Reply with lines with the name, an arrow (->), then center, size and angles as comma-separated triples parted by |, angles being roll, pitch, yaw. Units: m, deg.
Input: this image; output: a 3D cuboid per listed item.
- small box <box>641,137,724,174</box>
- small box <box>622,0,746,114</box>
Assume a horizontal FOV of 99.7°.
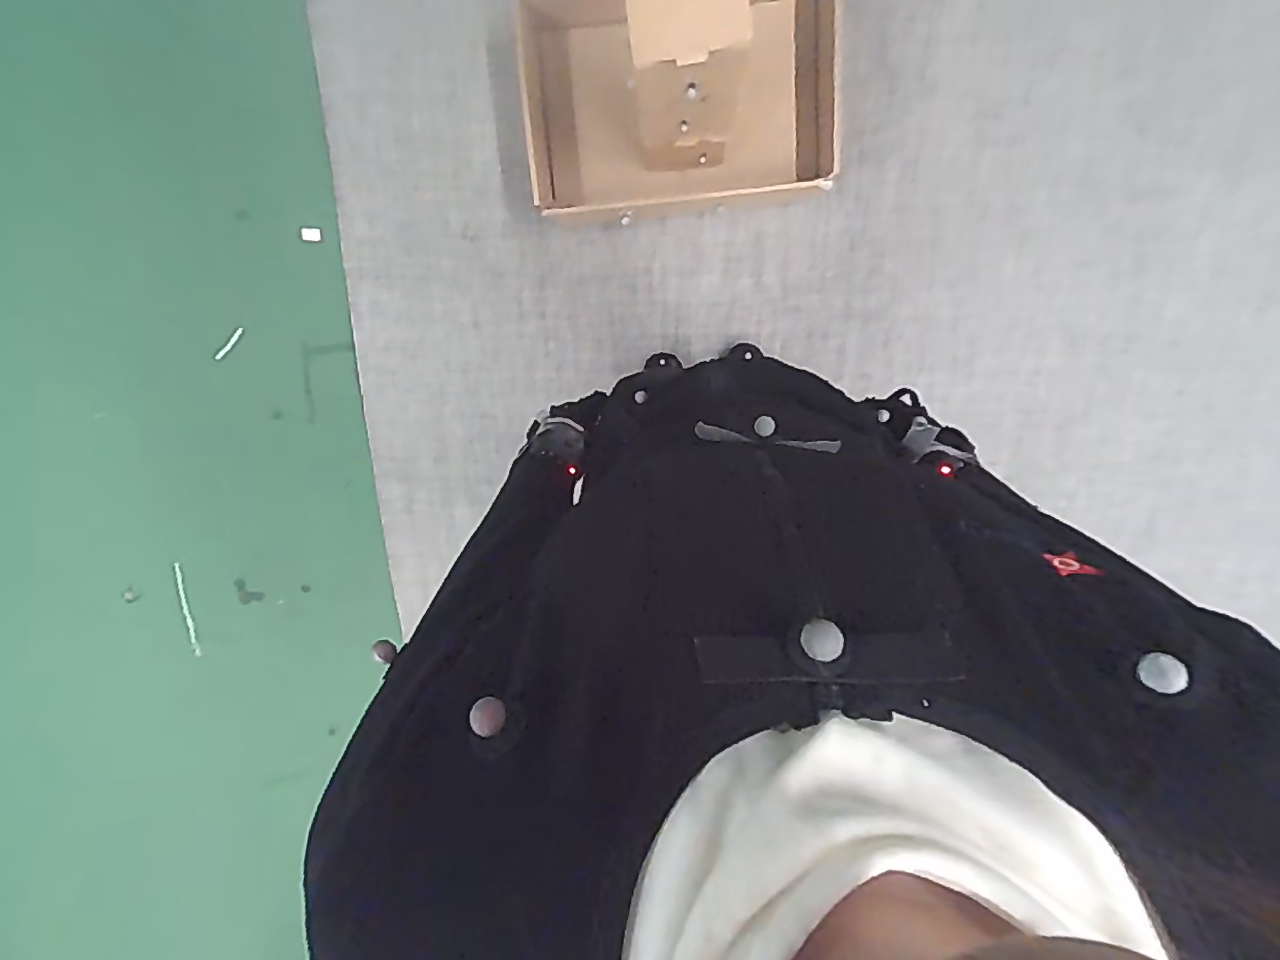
small box -> 0.087, -0.752, 1.120 | 0.168, 0.176, 0.179 | -2, 102, 4
small box -> 0.064, -0.674, 0.803 | 0.168, 0.176, 0.179 | -5, 104, 5
